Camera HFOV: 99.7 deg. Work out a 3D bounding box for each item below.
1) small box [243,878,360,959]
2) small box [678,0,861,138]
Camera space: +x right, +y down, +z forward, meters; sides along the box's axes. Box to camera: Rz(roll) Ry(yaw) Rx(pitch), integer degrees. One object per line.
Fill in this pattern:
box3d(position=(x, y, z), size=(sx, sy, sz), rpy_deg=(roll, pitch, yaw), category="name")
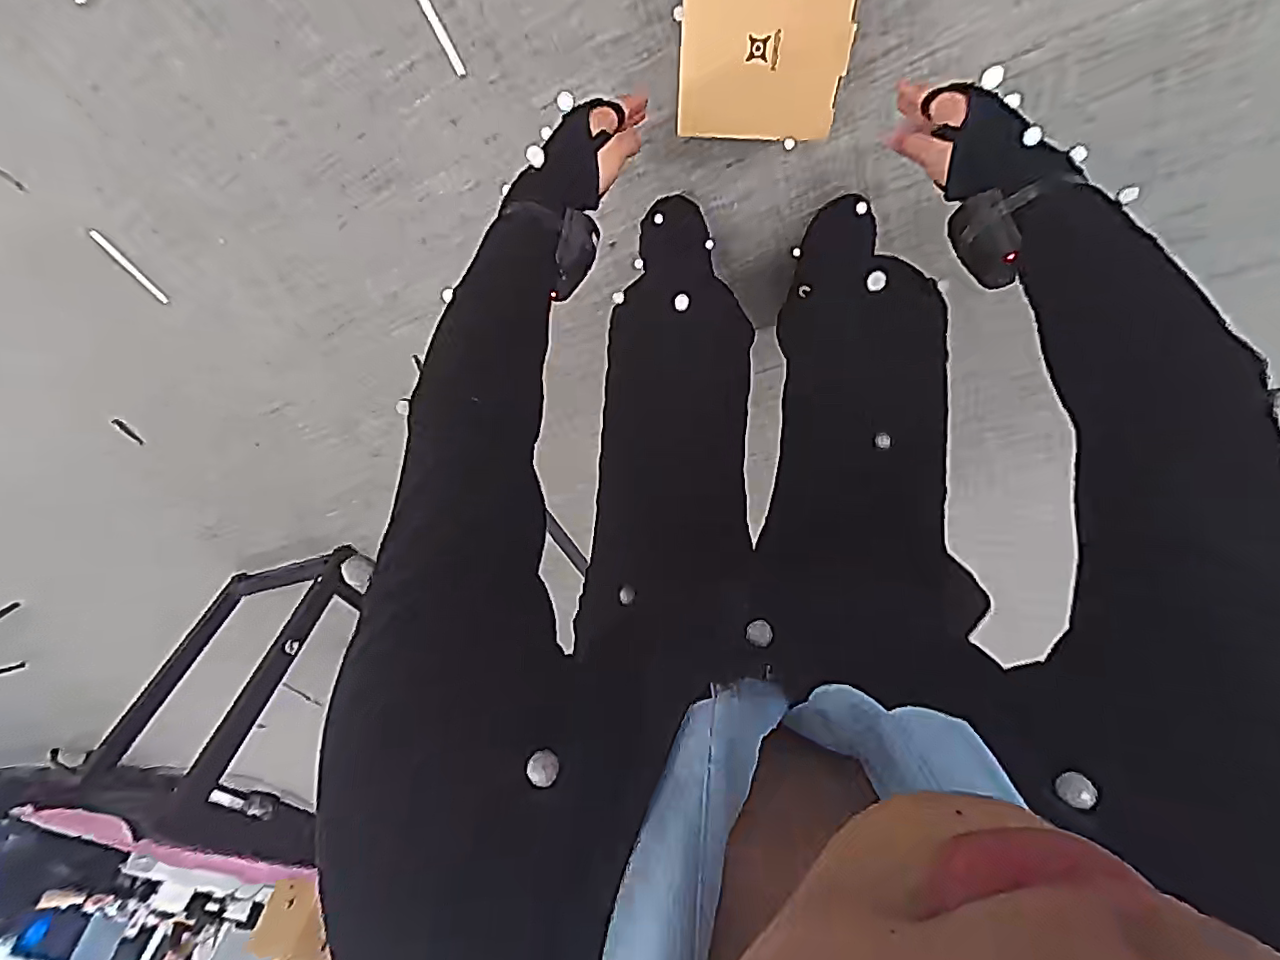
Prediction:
box3d(position=(-0.910, 1.216, 1.476), size=(0.168, 0.176, 0.179), rpy_deg=(-8, 132, 18), category="small box")
box3d(position=(0.141, -0.508, 0.618), size=(0.179, 0.176, 0.168), rpy_deg=(5, 135, 5), category="small box")
